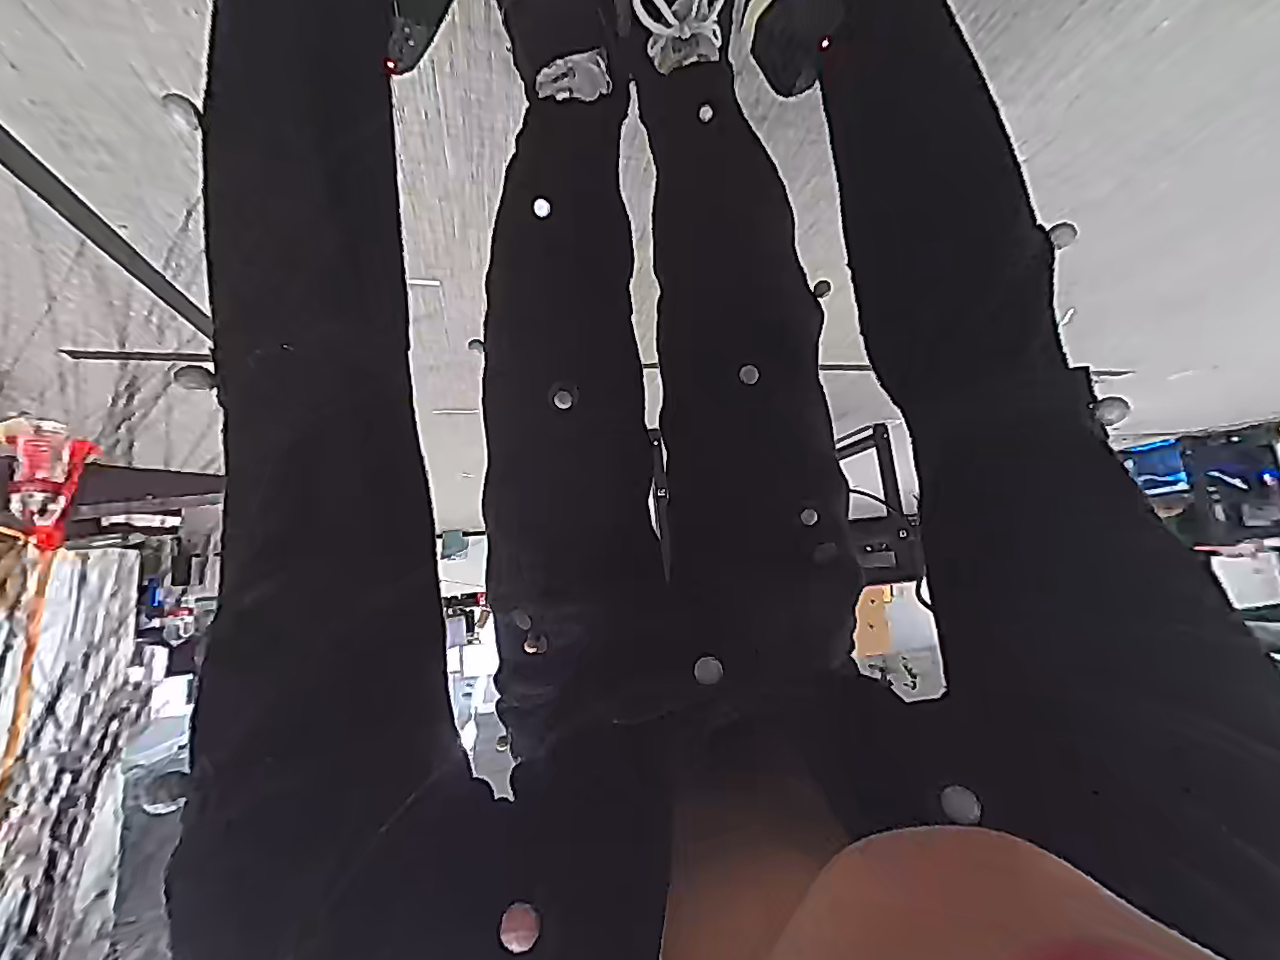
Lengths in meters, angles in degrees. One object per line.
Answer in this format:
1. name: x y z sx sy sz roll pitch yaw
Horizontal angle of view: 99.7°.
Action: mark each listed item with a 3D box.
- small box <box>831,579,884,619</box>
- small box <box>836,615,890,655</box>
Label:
1. small box: 1.040 0.572 2.604 0.168 0.176 0.179 -3 170 -11
2. small box: 1.059 0.734 2.584 0.179 0.176 0.168 -3 171 -9
